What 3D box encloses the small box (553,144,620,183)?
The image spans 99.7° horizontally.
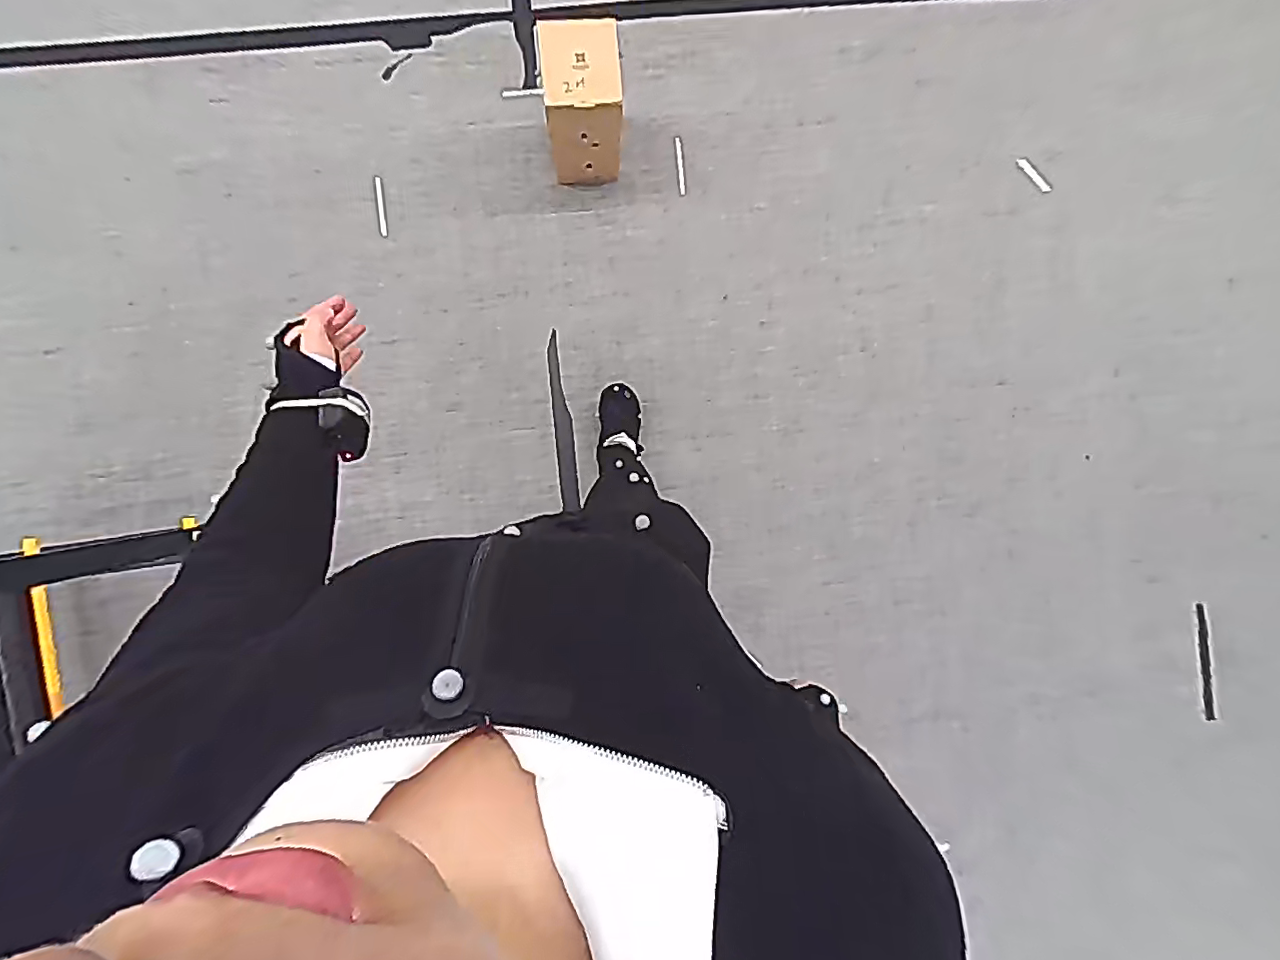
[{"bbox_3d":[-0.139,-0.878,1.373,0.168,0.176,0.179,-7,93,-4],"label":"small box"}]

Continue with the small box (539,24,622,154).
[{"bbox_3d":[-0.130,-0.865,1.207,0.168,0.176,0.179,-5,93,-3],"label":"small box"}]
